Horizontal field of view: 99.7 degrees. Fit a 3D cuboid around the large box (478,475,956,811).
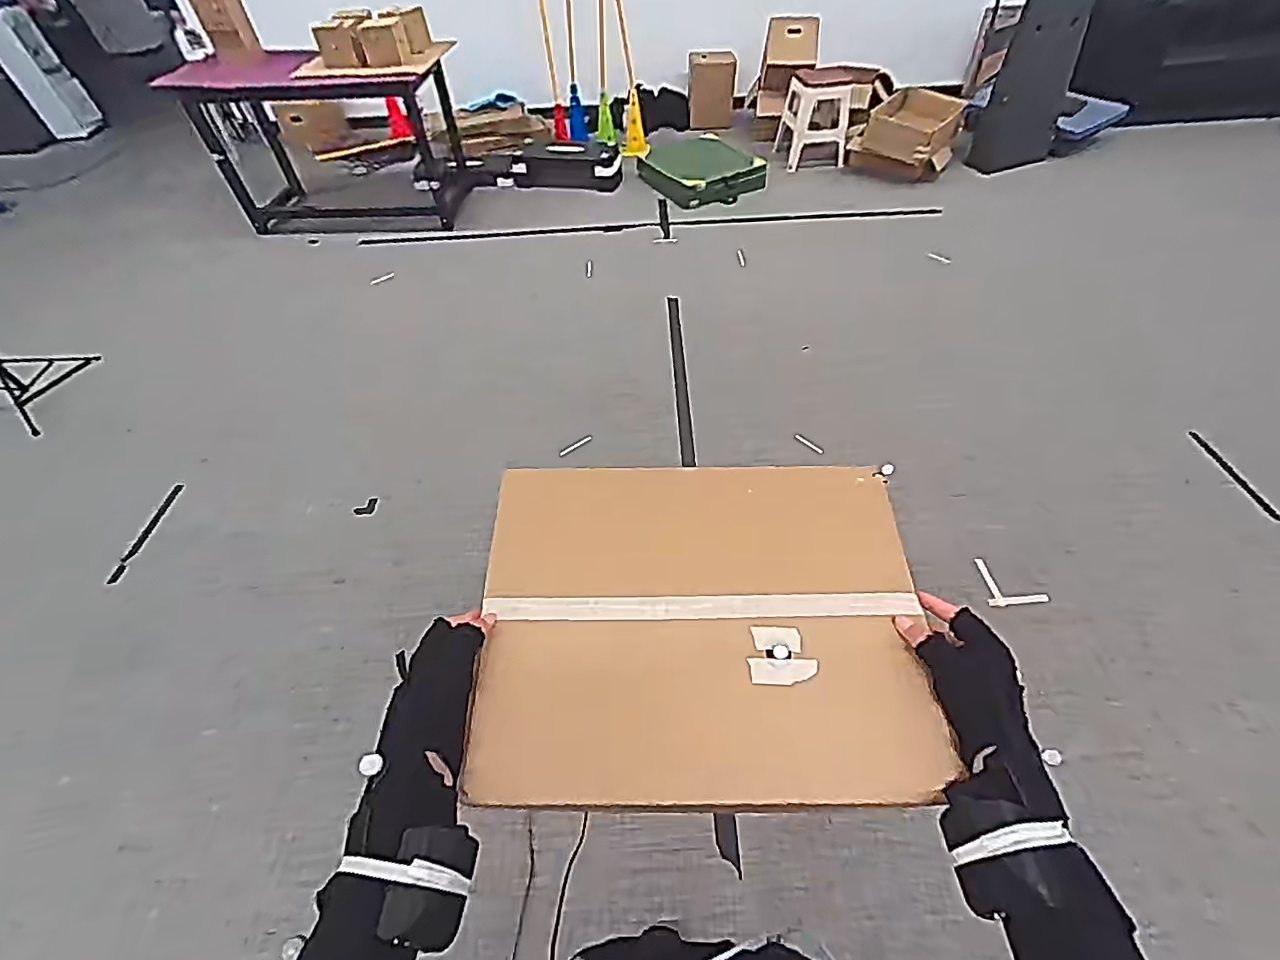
[{"bbox_3d":[0.061,0.207,0.645,0.408,0.320,0.320,-1,59,1],"label":"large box"}]
